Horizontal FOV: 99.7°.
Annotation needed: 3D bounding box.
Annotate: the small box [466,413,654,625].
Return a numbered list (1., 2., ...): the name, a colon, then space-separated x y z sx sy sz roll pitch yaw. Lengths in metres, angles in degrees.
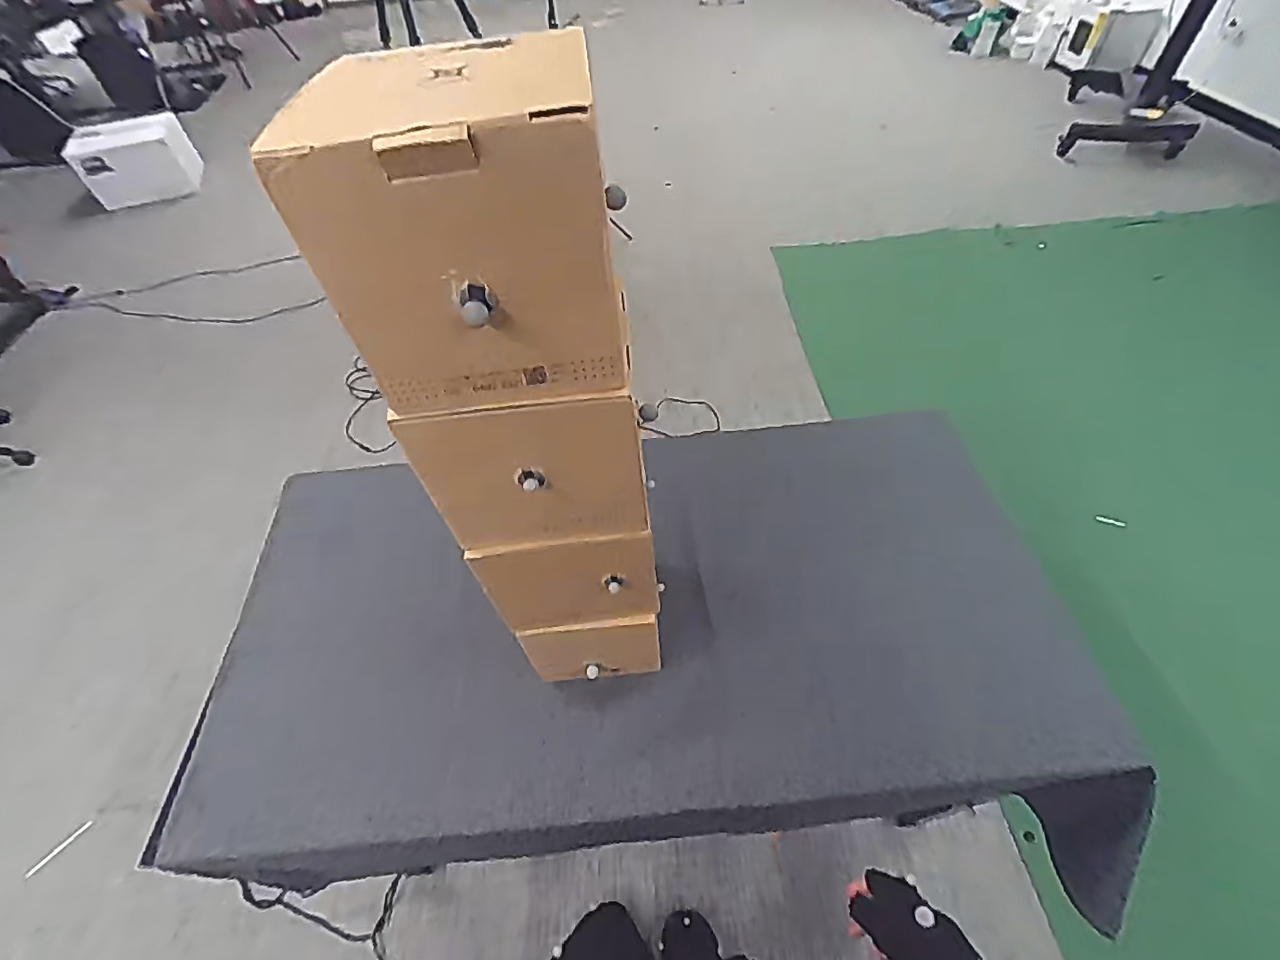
1. small box: -0.078 0.048 0.611 0.179 0.176 0.168 -7 50 -1

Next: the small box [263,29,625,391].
1. small box: -0.103 -0.176 0.373 0.168 0.176 0.179 -7 50 0

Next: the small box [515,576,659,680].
1. small box: -0.063 0.153 0.735 0.168 0.176 0.179 -5 51 1
